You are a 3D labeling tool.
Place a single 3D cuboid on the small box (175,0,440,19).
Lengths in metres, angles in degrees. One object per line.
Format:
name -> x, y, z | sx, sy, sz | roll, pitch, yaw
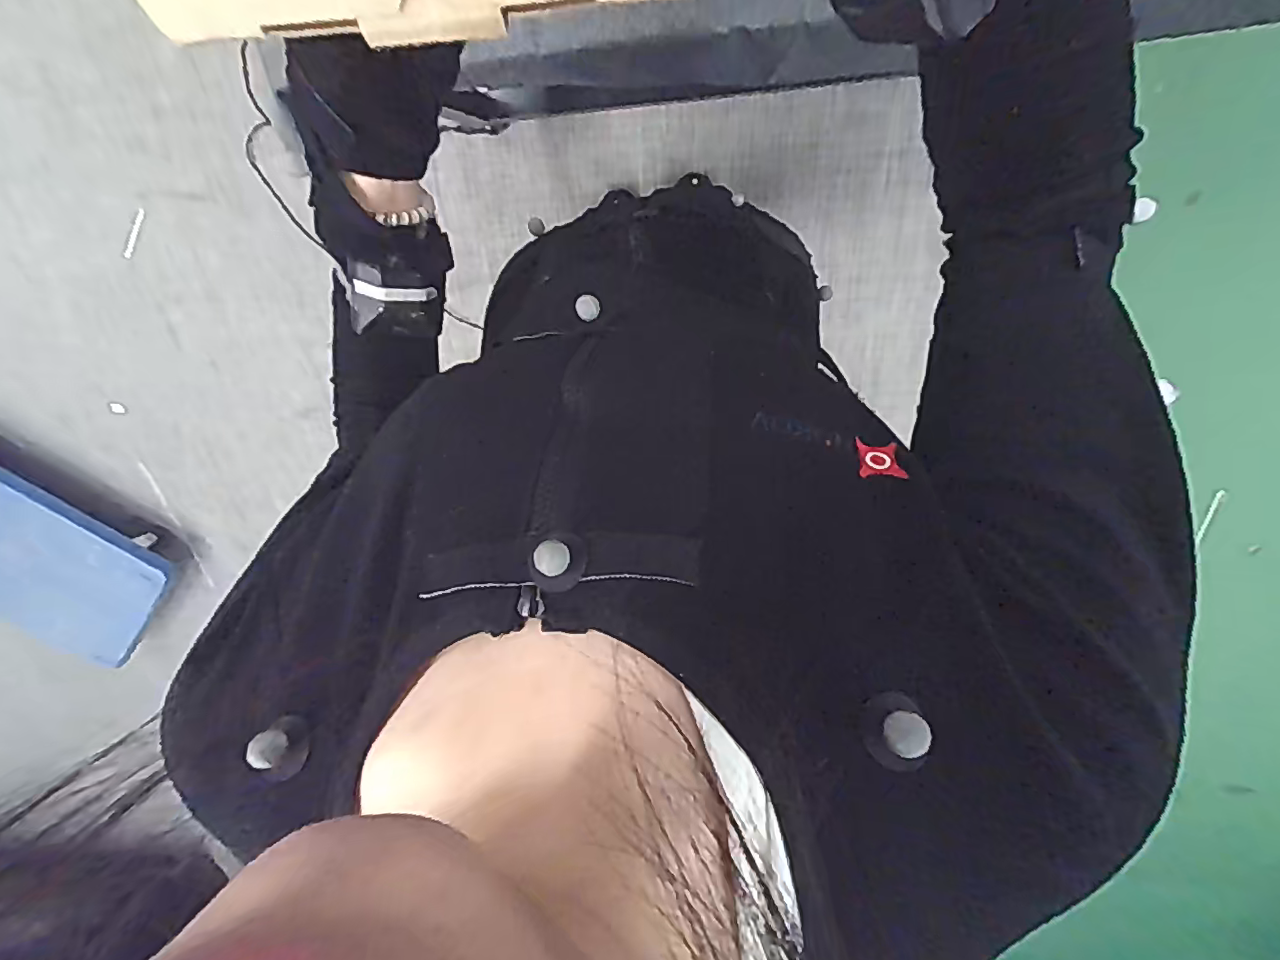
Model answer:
small box -> -0.069, -0.262, 0.138 | 0.168, 0.176, 0.179 | -4, 147, 1
